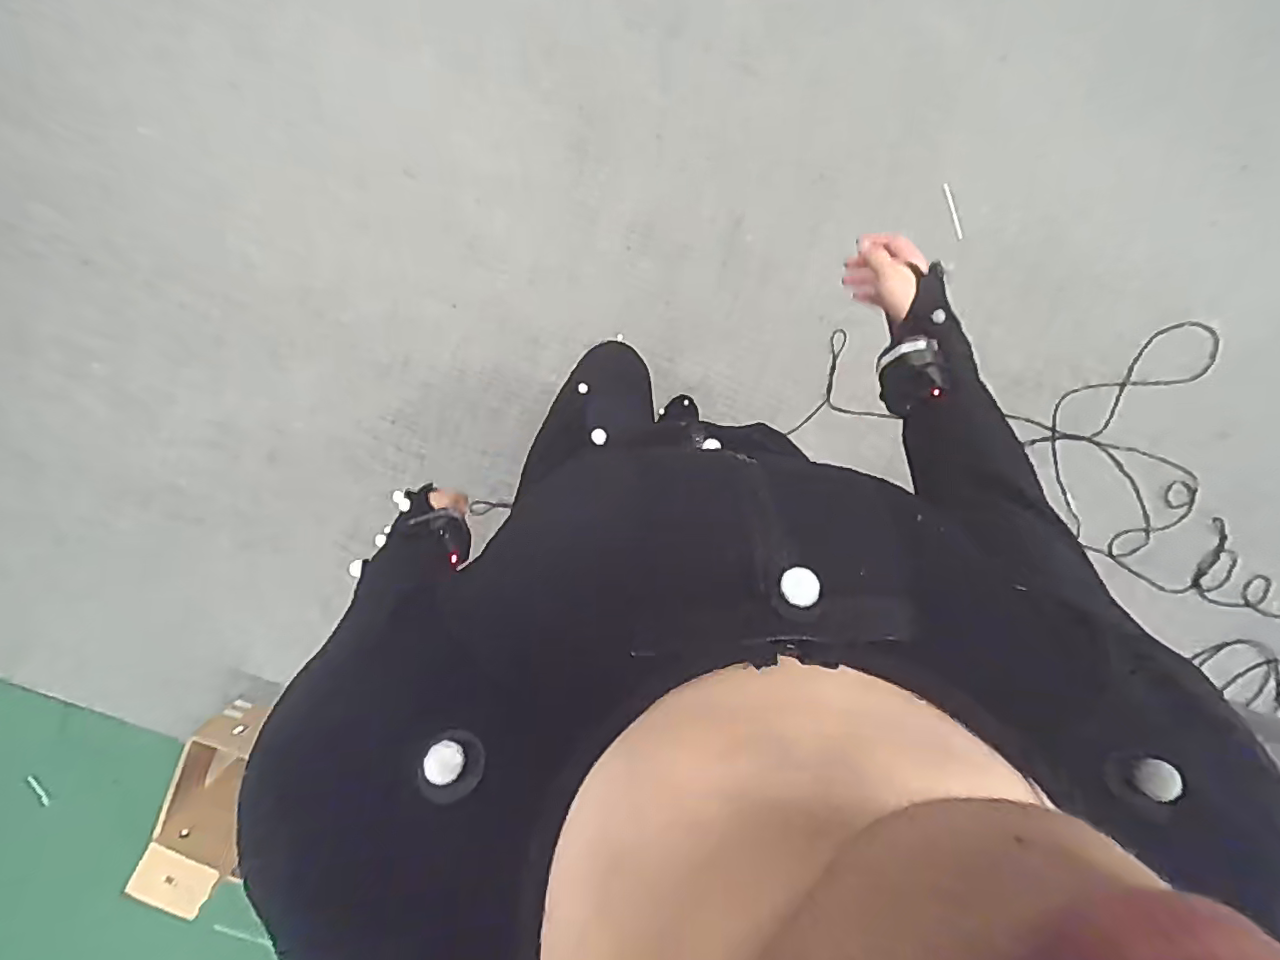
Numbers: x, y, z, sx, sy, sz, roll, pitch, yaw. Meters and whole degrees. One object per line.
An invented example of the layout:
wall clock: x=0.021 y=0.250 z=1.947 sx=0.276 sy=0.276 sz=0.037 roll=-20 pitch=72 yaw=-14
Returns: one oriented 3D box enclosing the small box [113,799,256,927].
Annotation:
small box: x=-1.112 y=0.933 z=1.334 sx=0.179 sy=0.176 sz=0.168 roll=32 pitch=98 yaw=-8
